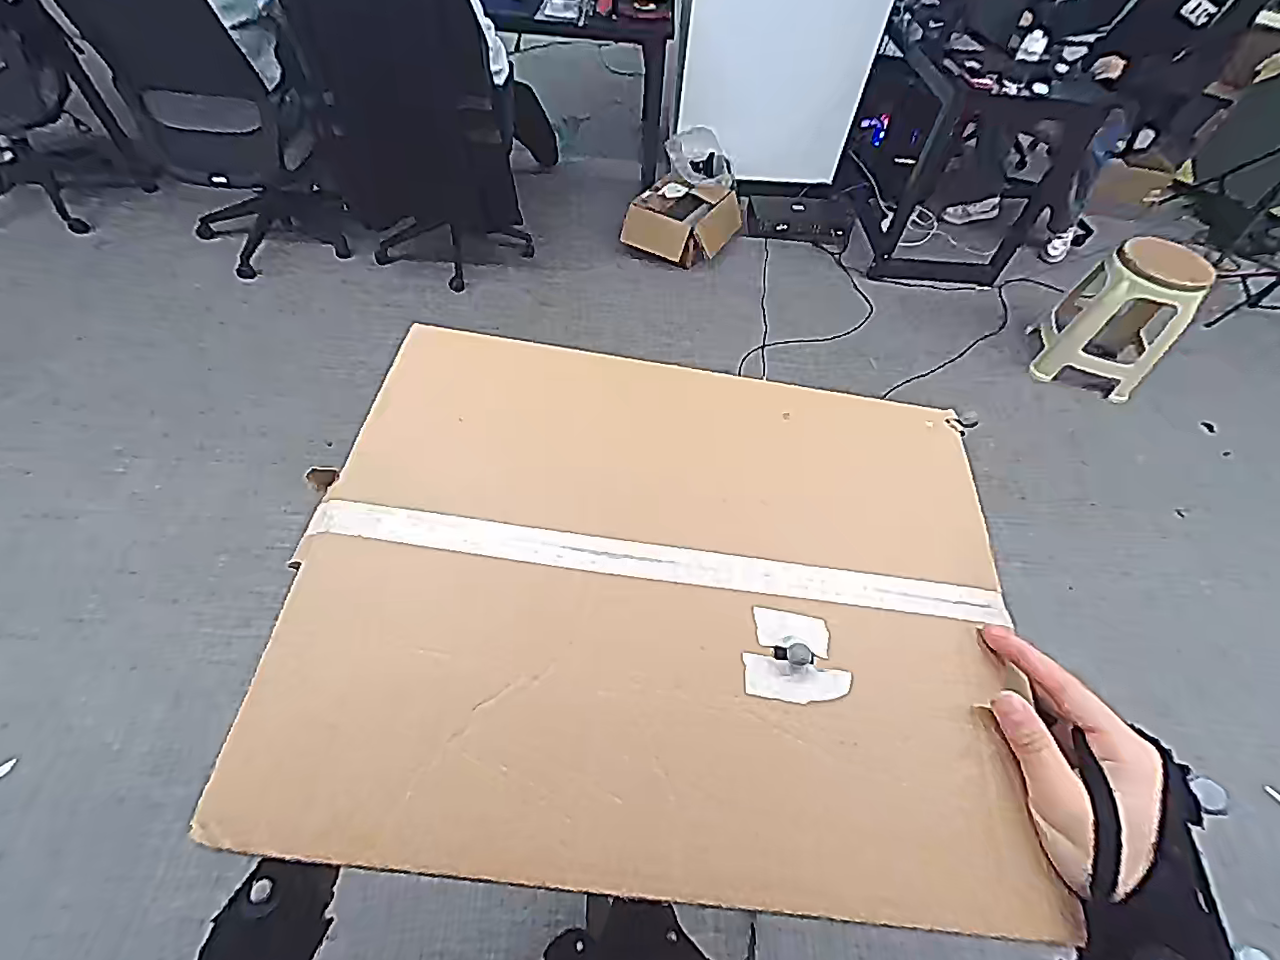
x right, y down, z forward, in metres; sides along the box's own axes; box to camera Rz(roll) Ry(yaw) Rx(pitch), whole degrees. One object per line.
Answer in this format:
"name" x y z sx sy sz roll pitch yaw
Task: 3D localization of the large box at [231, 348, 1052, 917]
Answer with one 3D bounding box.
"large box" 0.003 0.133 0.457 0.408 0.320 0.320 9 60 -4
